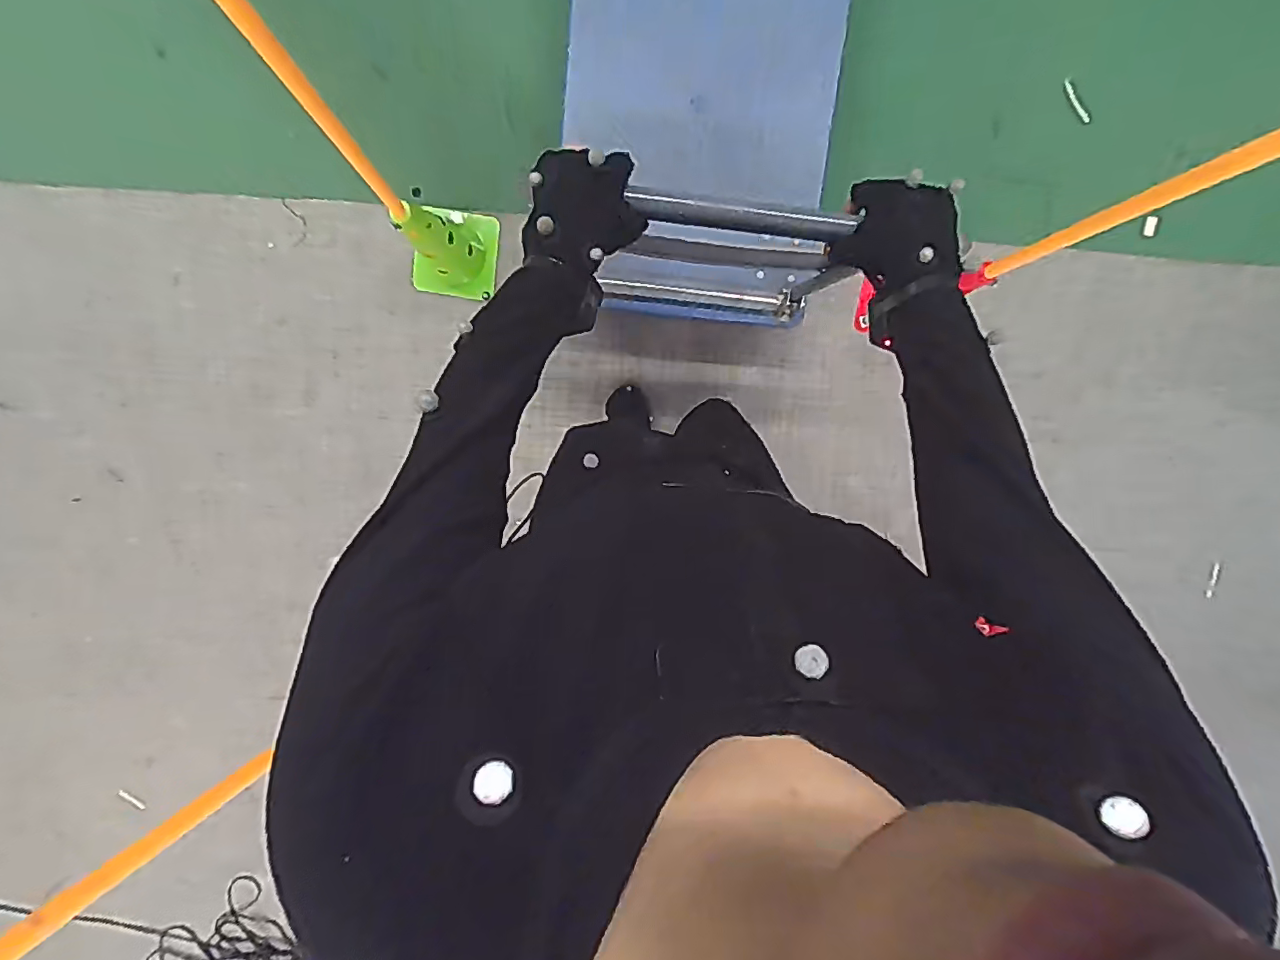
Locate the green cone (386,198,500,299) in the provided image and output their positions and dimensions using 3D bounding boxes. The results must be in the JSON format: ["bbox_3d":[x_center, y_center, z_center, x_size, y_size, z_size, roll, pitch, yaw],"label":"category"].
[{"bbox_3d":[-0.451,-0.537,1.178,0.202,0.368,0.200,7,100,-3],"label":"green cone"}]
